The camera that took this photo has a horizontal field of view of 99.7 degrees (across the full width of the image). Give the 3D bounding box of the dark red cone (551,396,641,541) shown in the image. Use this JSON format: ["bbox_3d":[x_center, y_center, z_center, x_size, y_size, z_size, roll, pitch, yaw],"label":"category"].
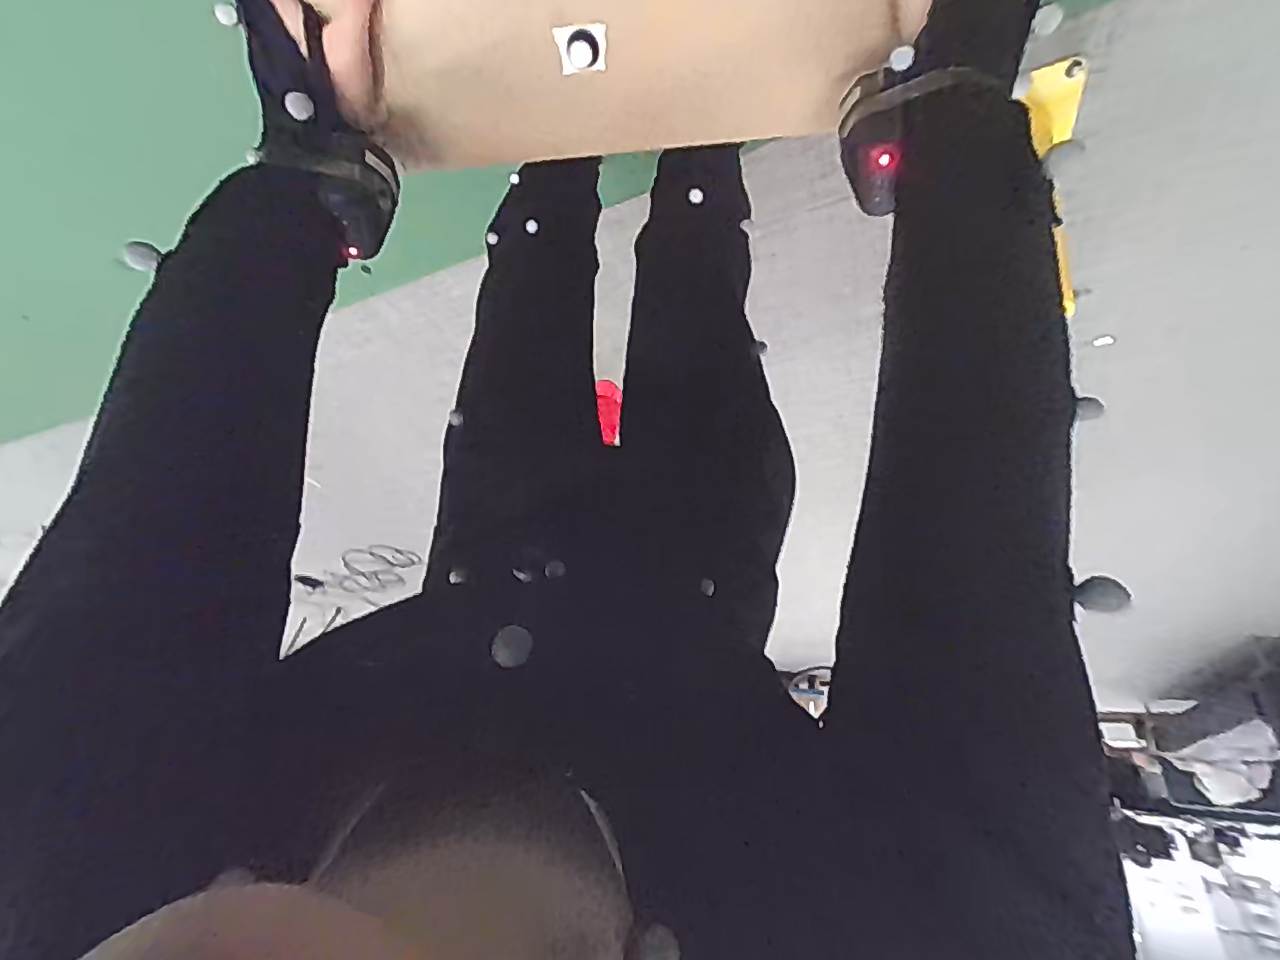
[{"bbox_3d":[-0.143,-0.022,1.429,0.202,0.394,0.201,-13,143,32],"label":"dark red cone"}]
